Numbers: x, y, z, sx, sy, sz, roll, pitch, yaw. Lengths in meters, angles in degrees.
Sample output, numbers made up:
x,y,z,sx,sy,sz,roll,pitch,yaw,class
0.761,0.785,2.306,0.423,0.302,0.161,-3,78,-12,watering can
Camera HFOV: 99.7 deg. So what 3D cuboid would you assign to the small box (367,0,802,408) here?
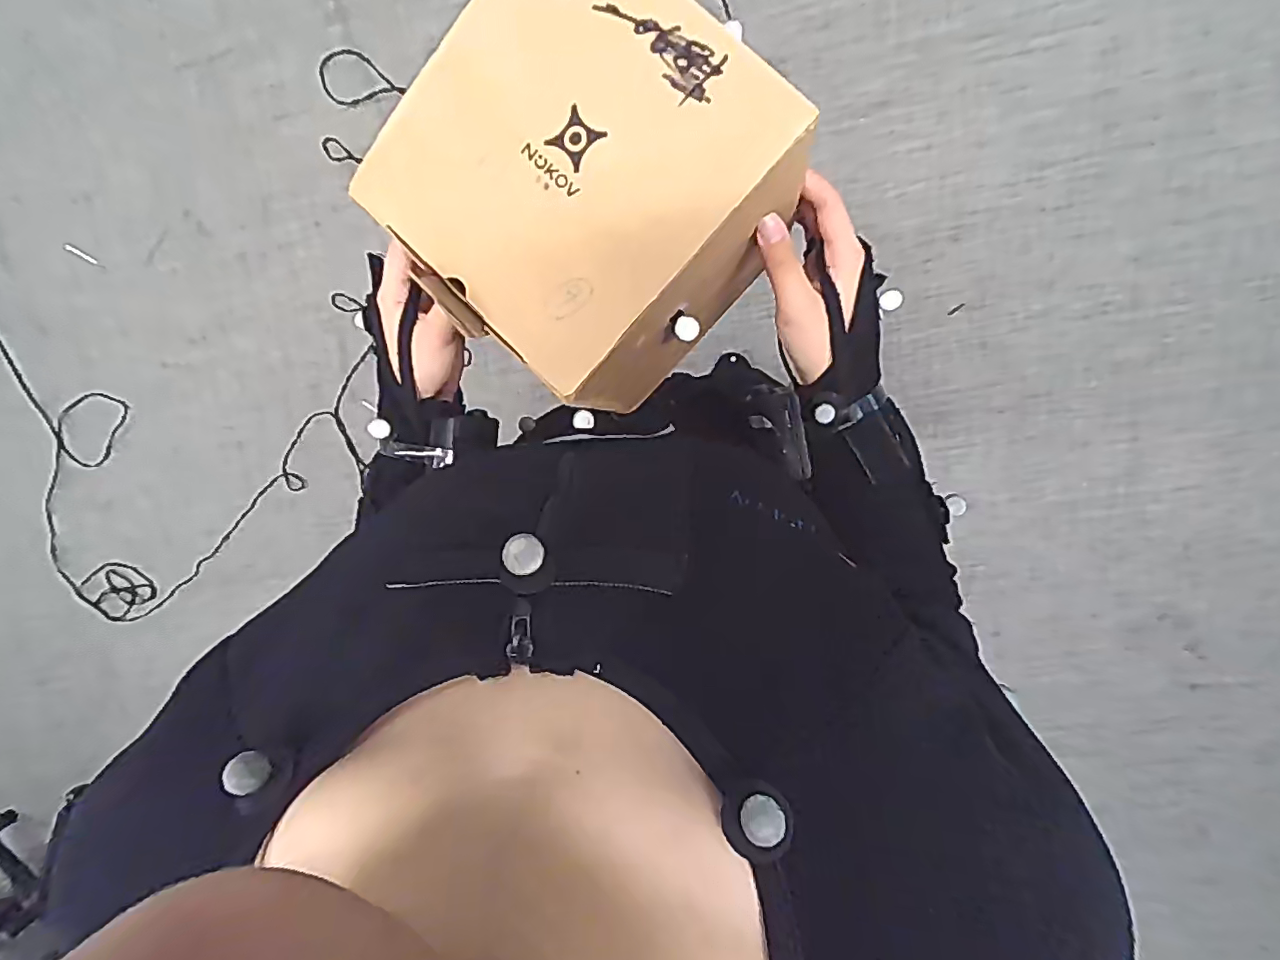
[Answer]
x,y,z,sx,sy,sz,roll,pitch,yaw,class
-0.021,-0.160,0.349,0.168,0.176,0.179,44,101,4,small box
